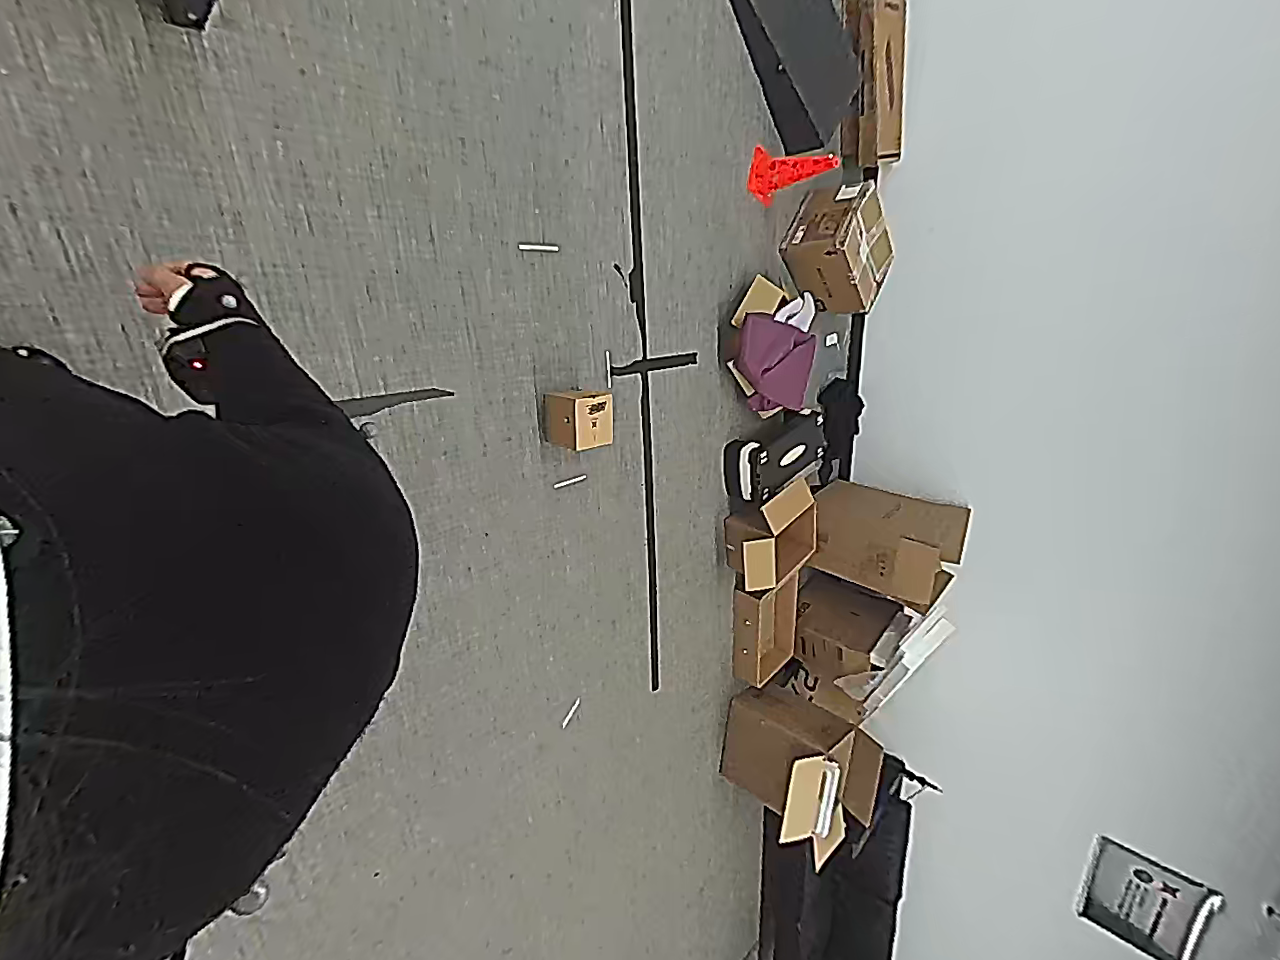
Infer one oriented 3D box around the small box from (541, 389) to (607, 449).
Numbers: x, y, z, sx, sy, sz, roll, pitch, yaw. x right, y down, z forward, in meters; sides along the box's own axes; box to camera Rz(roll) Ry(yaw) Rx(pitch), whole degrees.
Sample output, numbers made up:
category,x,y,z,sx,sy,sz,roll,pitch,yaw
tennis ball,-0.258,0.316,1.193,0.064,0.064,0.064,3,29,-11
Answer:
category,x,y,z,sx,sy,sz,roll,pitch,yaw
small box,-0.229,-0.216,1.864,0.168,0.176,0.179,-17,115,-43
